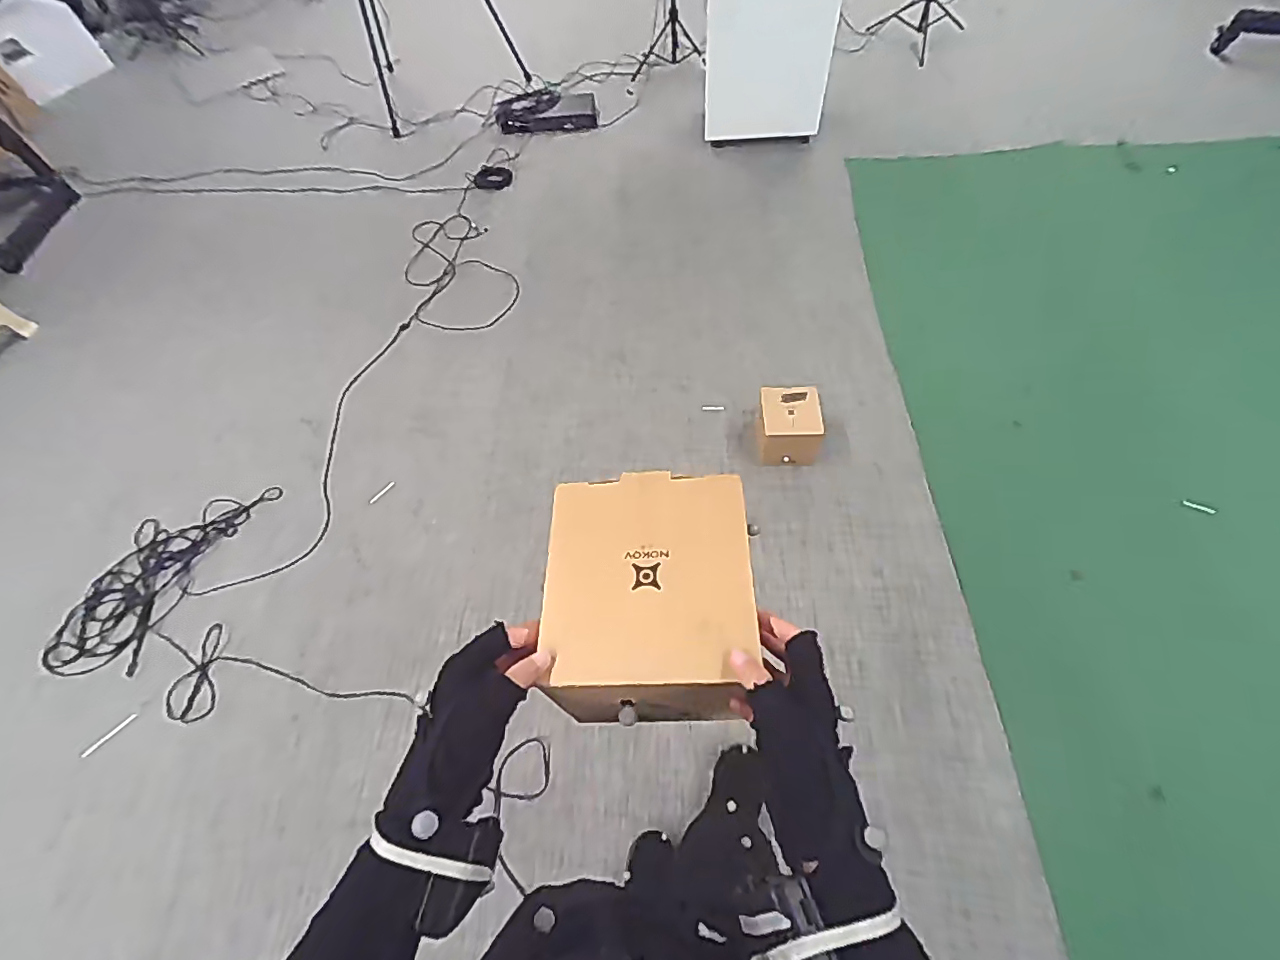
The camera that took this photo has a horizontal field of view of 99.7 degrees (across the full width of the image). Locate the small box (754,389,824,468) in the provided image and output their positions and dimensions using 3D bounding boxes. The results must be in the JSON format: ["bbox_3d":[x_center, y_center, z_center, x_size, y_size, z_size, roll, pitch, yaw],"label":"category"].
[{"bbox_3d":[0.441,-0.152,1.624,0.168,0.176,0.179,-1,60,4],"label":"small box"}]
